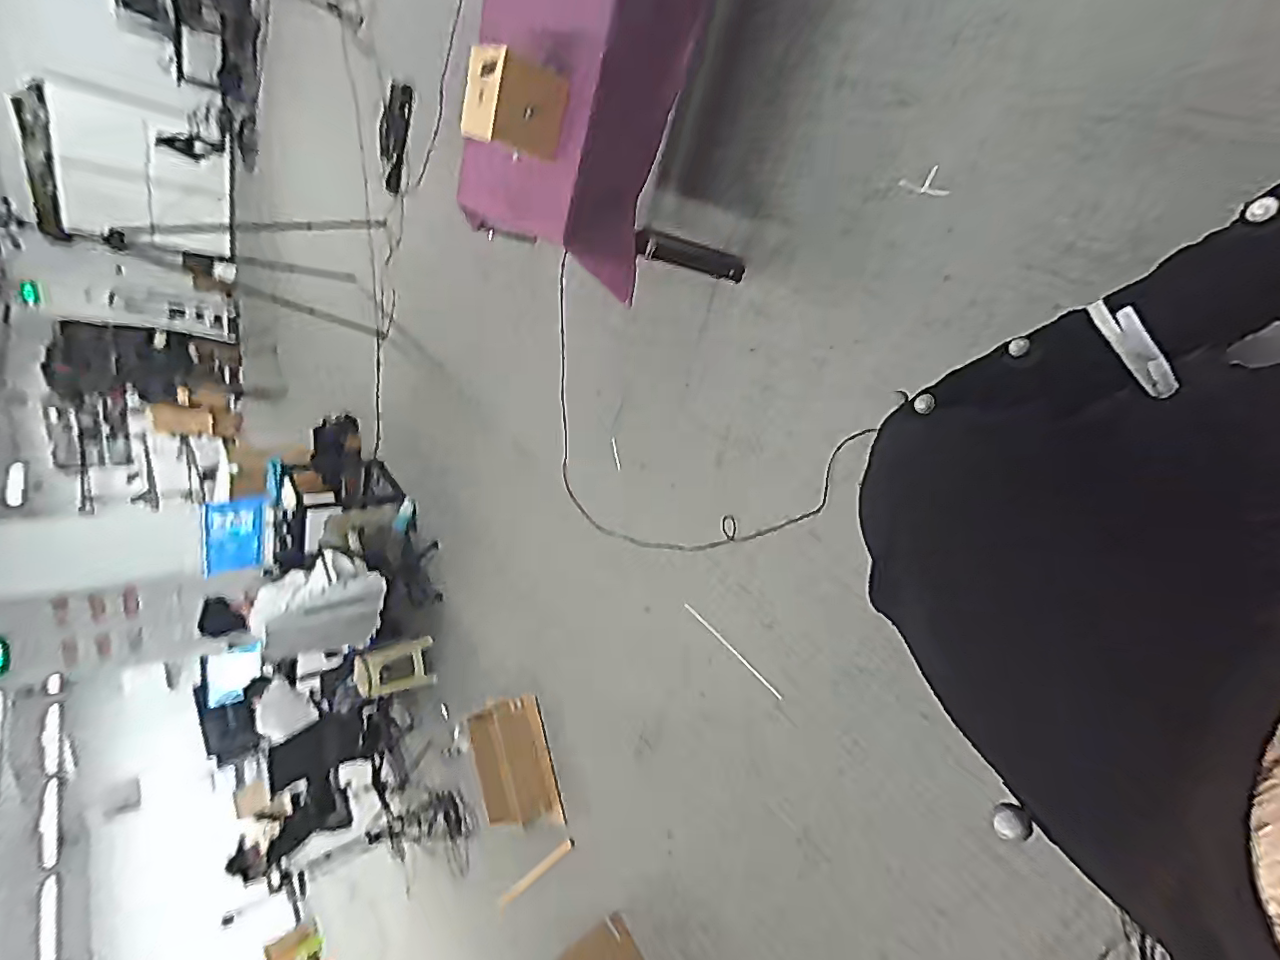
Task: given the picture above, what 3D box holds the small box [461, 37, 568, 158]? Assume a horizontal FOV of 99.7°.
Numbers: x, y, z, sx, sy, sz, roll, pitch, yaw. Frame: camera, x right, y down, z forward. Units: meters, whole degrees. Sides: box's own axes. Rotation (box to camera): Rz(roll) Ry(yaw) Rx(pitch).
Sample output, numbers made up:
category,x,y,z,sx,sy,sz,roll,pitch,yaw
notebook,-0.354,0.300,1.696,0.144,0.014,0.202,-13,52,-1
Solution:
category,x,y,z,sx,sy,sz,roll,pitch,yaw
small box,-0.288,-0.880,1.251,0.168,0.176,0.179,40,122,36
